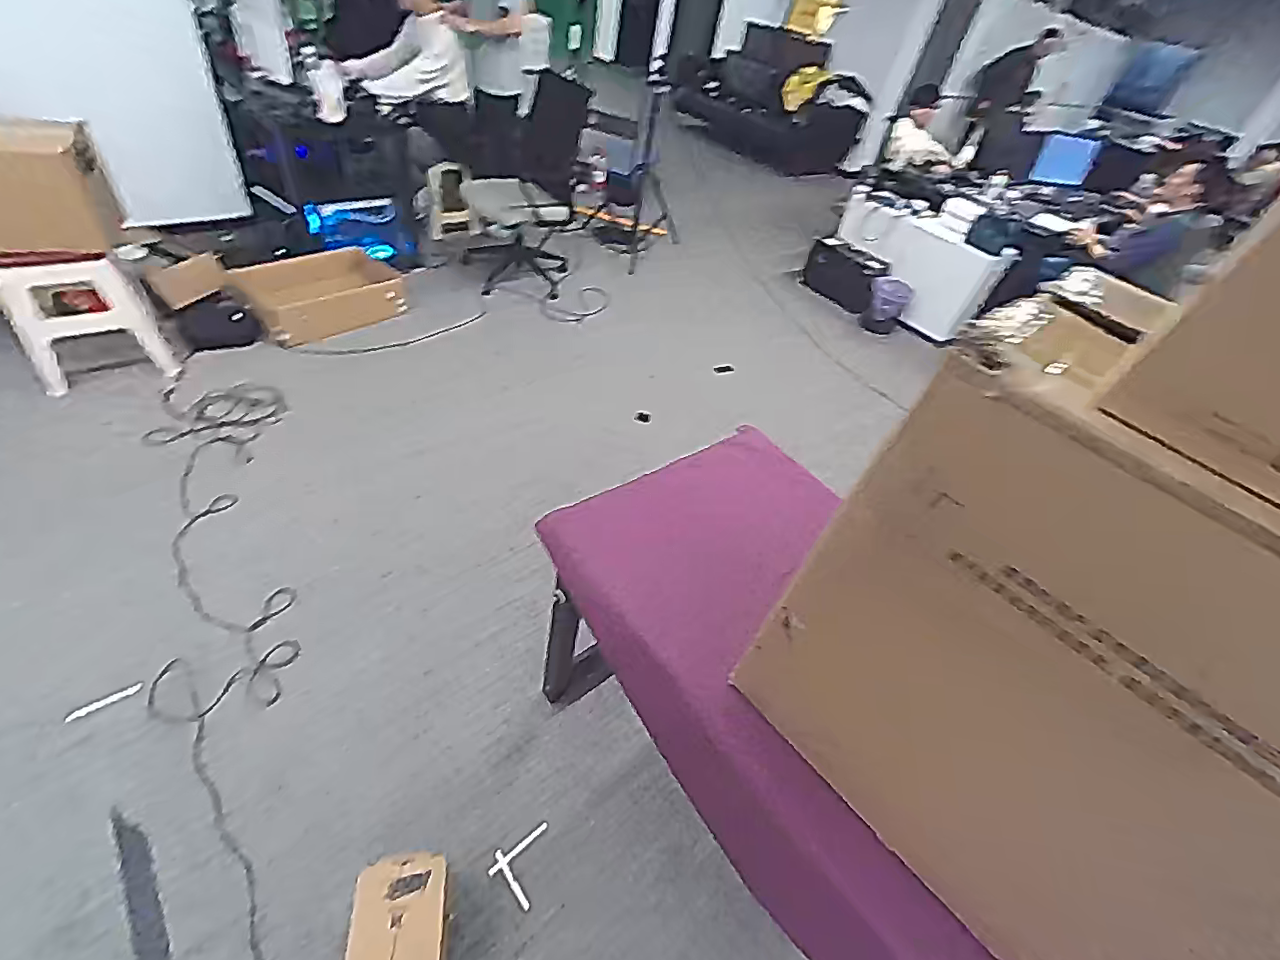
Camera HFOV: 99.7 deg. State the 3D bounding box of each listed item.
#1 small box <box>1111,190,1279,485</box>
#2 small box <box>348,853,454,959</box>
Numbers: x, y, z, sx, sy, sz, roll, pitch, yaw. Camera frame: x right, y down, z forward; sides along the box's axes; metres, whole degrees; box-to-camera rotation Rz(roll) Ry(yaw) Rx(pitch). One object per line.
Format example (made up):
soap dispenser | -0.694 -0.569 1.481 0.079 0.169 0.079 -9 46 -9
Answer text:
small box | 0.473 -0.105 0.362 0.179 0.176 0.168 -29 61 -37
small box | -0.466 0.875 1.078 0.168 0.176 0.179 1 46 -13
